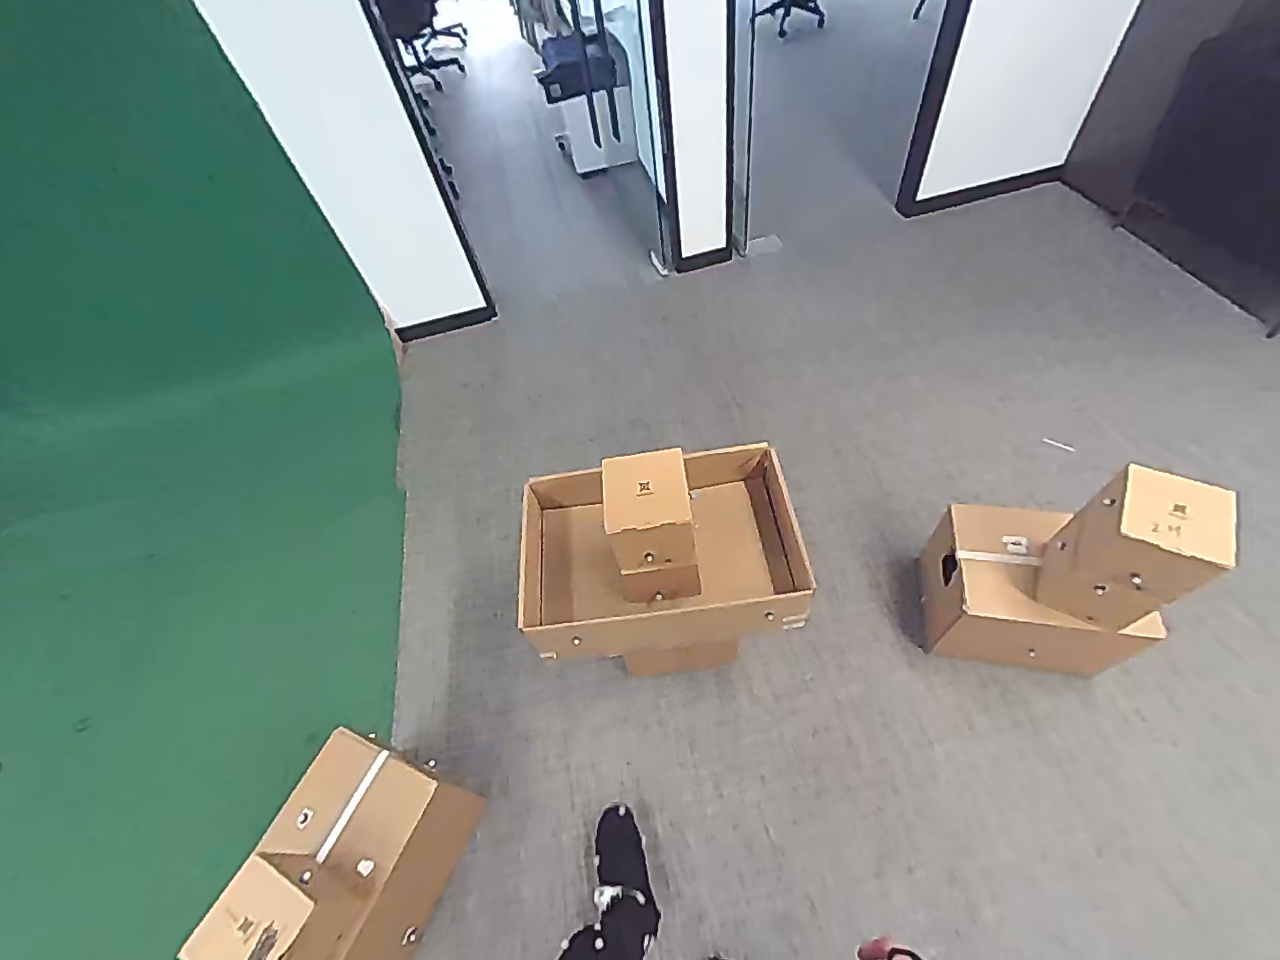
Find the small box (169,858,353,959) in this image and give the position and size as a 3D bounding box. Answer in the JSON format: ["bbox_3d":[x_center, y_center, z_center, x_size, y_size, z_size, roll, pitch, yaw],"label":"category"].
[{"bbox_3d":[-0.666,0.816,0.976,0.179,0.176,0.168,19,57,20],"label":"small box"}]

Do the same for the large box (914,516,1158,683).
[{"bbox_3d":[0.991,0.316,1.425,0.408,0.320,0.320,5,54,13],"label":"large box"}]

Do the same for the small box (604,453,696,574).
[{"bbox_3d":[0.020,0.071,1.103,0.168,0.176,0.179,-8,54,4],"label":"small box"}]

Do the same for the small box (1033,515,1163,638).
[{"bbox_3d":[1.005,0.215,1.190,0.168,0.176,0.179,23,61,23],"label":"small box"}]

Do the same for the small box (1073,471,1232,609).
[{"bbox_3d":[0.989,0.119,1.056,0.168,0.176,0.179,22,61,23],"label":"small box"}]
